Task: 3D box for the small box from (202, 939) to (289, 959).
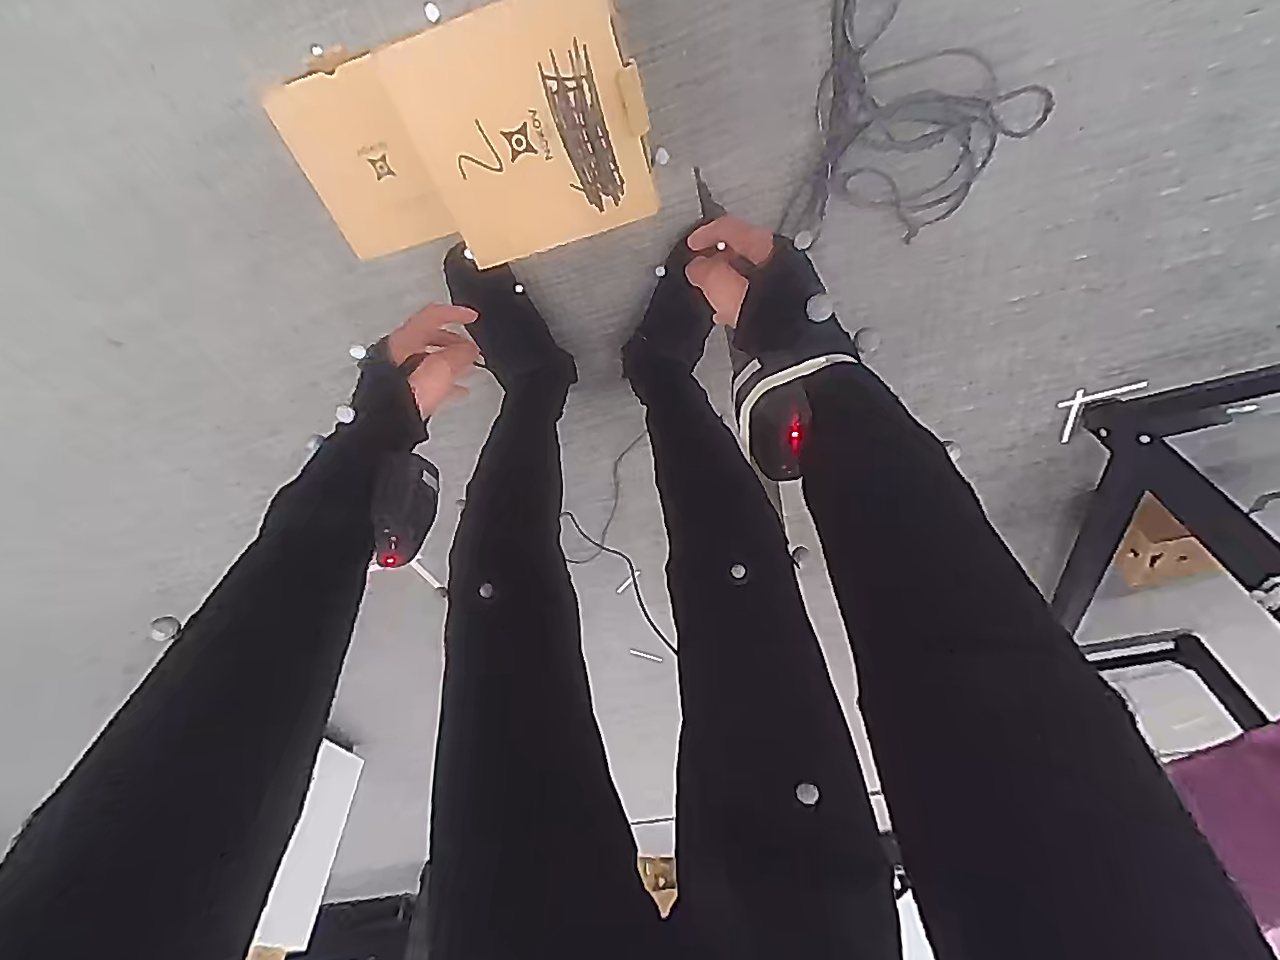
[{"bbox_3d":[-1.191,1.478,1.597,0.179,0.176,0.168,-13,134,11],"label":"small box"}]
